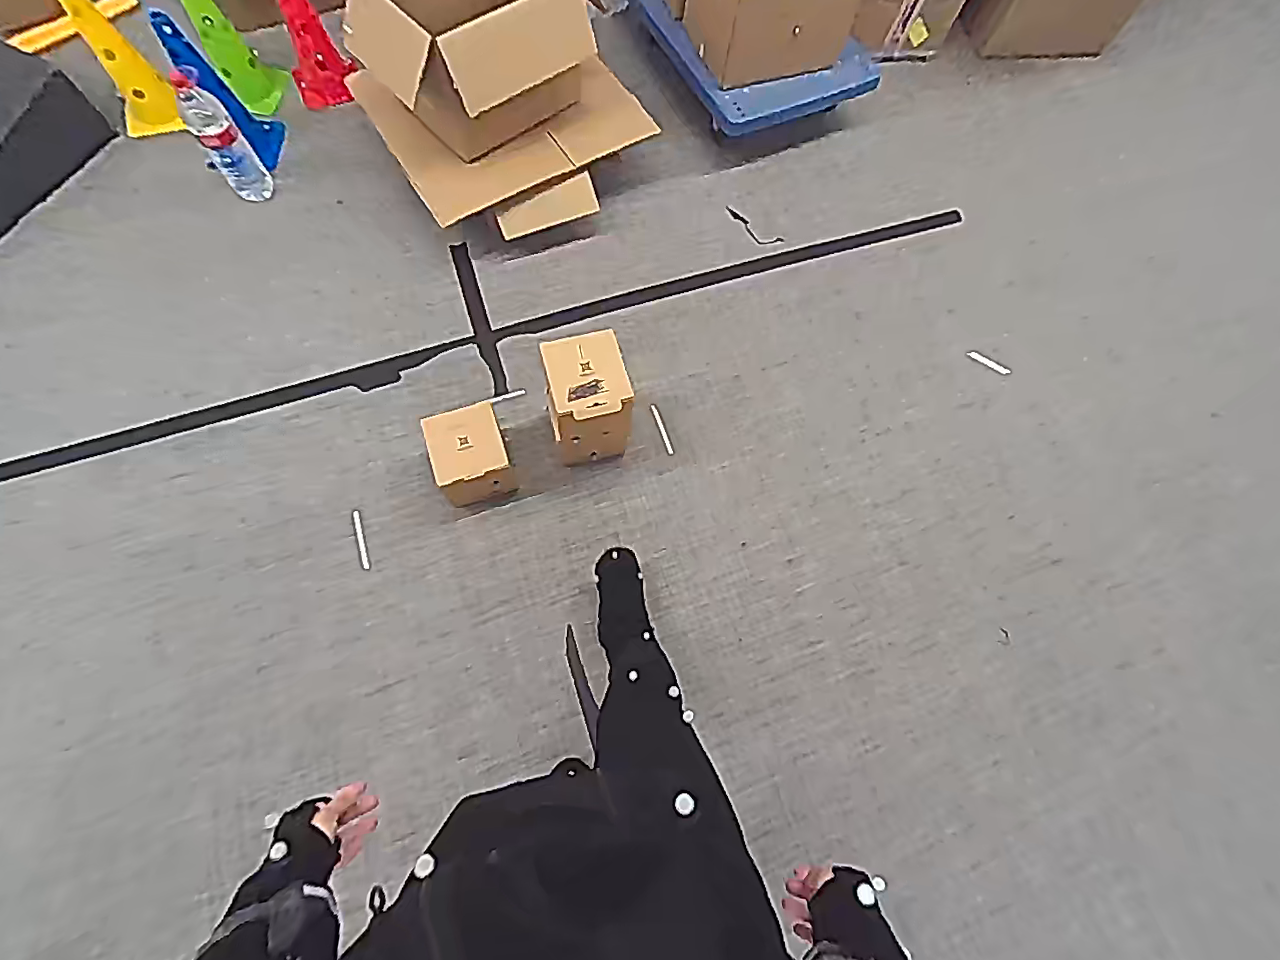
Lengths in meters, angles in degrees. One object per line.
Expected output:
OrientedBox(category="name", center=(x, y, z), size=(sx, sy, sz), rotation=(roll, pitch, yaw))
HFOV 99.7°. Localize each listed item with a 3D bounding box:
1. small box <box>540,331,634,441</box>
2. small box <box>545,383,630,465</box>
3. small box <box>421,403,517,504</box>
OrientedBox(category="small box", center=(-0.117, -0.199, 1.202), size=(0.168, 0.176, 0.179), rotation=(-14, 72, -10))
OrientedBox(category="small box", center=(-0.135, -0.151, 1.359), size=(0.179, 0.176, 0.168), rotation=(-13, 73, -10))
OrientedBox(category="small box", center=(-0.404, -0.054, 1.303), size=(0.168, 0.176, 0.179), rotation=(-18, 73, -12))
